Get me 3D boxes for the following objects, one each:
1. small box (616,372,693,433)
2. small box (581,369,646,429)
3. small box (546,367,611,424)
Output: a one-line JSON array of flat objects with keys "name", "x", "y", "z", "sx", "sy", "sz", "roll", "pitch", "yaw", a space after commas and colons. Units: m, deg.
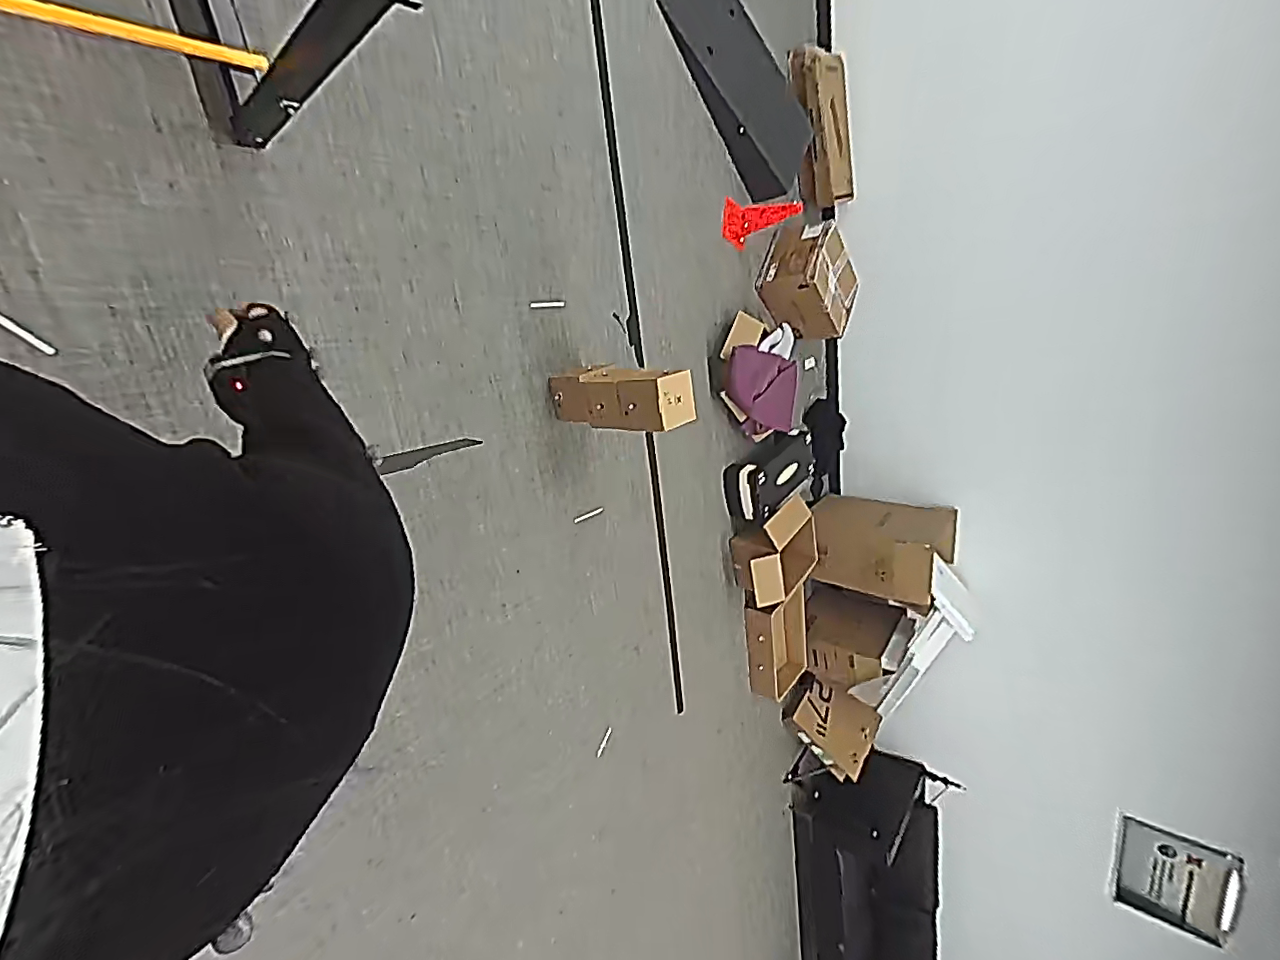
[{"name": "small box", "x": 0.046, "y": -0.253, "z": 1.739, "sx": 0.179, "sy": 0.176, "sz": 0.168, "roll": -26, "pitch": 113, "yaw": -44}, {"name": "small box", "x": -0.082, "y": -0.275, "z": 1.842, "sx": 0.179, "sy": 0.176, "sz": 0.168, "roll": -31, "pitch": 118, "yaw": -42}, {"name": "small box", "x": -0.207, "y": -0.308, "z": 1.945, "sx": 0.179, "sy": 0.176, "sz": 0.168, "roll": -30, "pitch": 116, "yaw": -41}]
